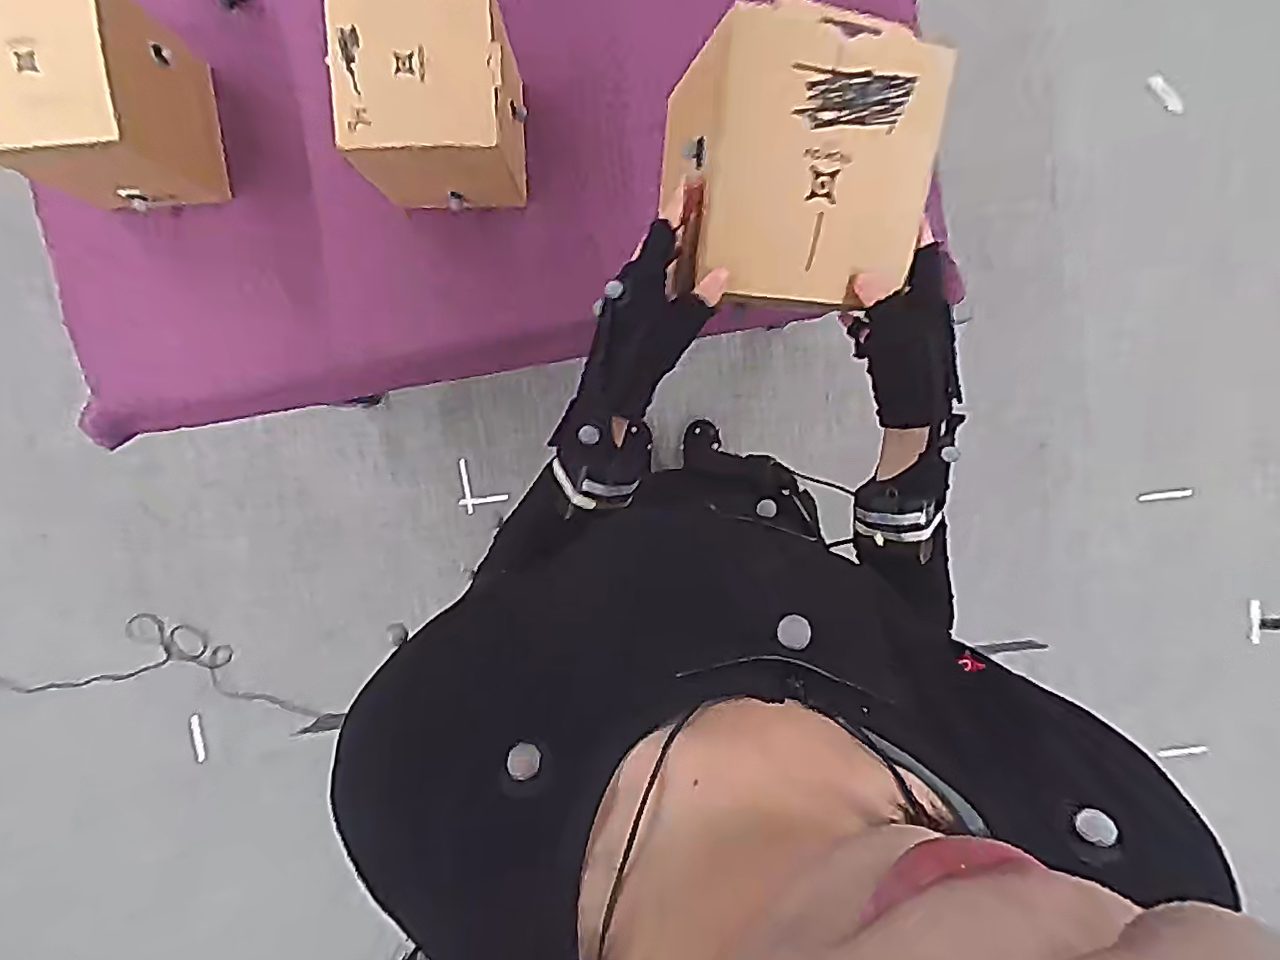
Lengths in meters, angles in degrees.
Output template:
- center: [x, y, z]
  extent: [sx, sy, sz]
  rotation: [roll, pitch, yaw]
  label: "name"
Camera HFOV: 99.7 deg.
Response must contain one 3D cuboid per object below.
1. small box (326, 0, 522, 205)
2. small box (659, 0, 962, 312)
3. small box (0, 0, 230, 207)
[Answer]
- center: [-0.238, -0.445, 0.644]
  extent: [0.179, 0.176, 0.168]
  rotation: [-1, 96, -2]
  label: "small box"
- center: [0.119, -0.240, 0.451]
  extent: [0.168, 0.176, 0.179]
  rotation: [2, 107, -13]
  label: "small box"
- center: [-0.630, -0.447, 0.632]
  extent: [0.168, 0.176, 0.179]
  rotation: [-5, 97, 0]
  label: "small box"
